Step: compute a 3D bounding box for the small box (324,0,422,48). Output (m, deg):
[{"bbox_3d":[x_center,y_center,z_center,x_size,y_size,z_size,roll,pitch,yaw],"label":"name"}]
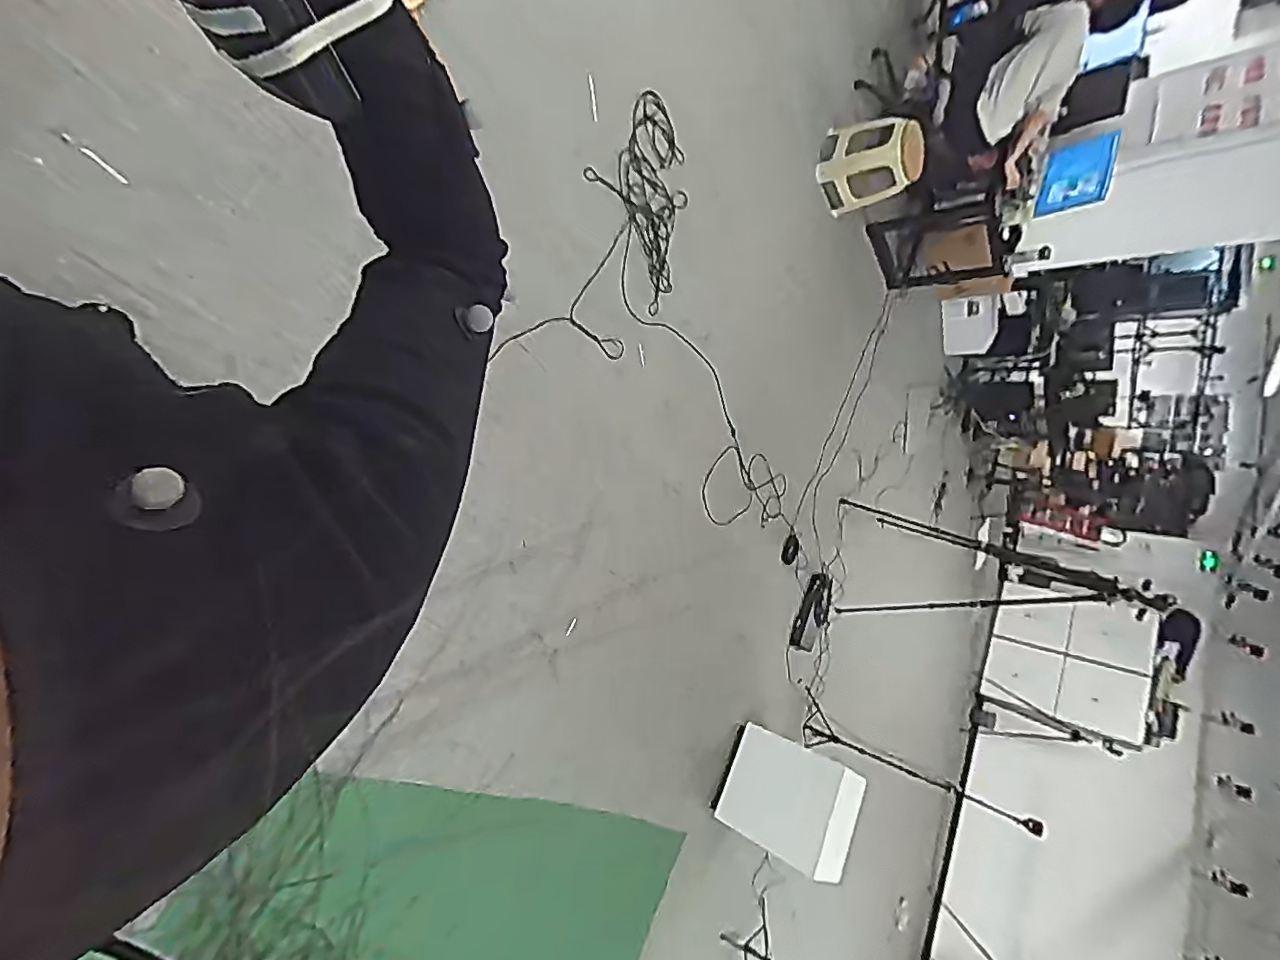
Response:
[{"bbox_3d":[-0.629,-1.168,1.263,0.168,0.176,0.179,48,63,-39],"label":"small box"}]
